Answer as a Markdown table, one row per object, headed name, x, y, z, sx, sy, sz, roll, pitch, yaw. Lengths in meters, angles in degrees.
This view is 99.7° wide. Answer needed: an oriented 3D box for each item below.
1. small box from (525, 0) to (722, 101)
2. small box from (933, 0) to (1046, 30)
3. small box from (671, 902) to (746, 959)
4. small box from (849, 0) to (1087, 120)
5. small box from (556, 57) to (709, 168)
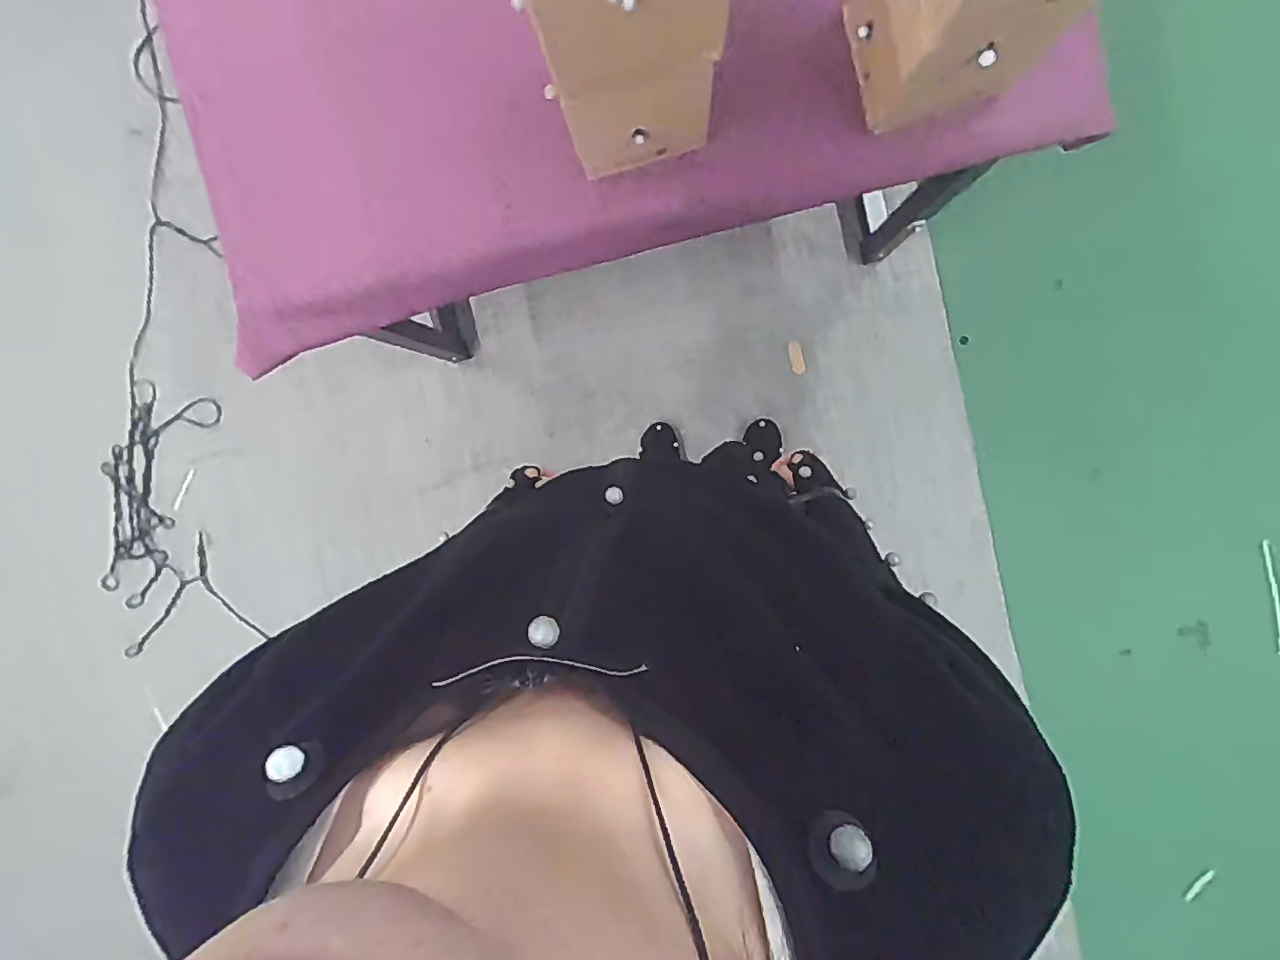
| name | x | y | z | sx | sy | sz | roll | pitch | yaw |
| --- | --- | --- | --- | --- | --- | --- | --- | --- | --- |
| small box | -0.025 | -0.488 | 0.486 | 0.179 | 0.176 | 0.168 | -14 | 94 | 6 |
| small box | 0.345 | -0.539 | 0.445 | 0.168 | 0.176 | 0.179 | -14 | 94 | 9 |
| small box | 0.190 | 1.320 | 1.492 | 0.179 | 0.176 | 0.168 | -23 | 92 | 7 |
| small box | 0.359 | -0.553 | 0.608 | 0.179 | 0.176 | 0.168 | -15 | 95 | 8 |
| small box | -0.016 | -0.507 | 0.647 | 0.168 | 0.176 | 0.179 | -14 | 93 | 6 |
